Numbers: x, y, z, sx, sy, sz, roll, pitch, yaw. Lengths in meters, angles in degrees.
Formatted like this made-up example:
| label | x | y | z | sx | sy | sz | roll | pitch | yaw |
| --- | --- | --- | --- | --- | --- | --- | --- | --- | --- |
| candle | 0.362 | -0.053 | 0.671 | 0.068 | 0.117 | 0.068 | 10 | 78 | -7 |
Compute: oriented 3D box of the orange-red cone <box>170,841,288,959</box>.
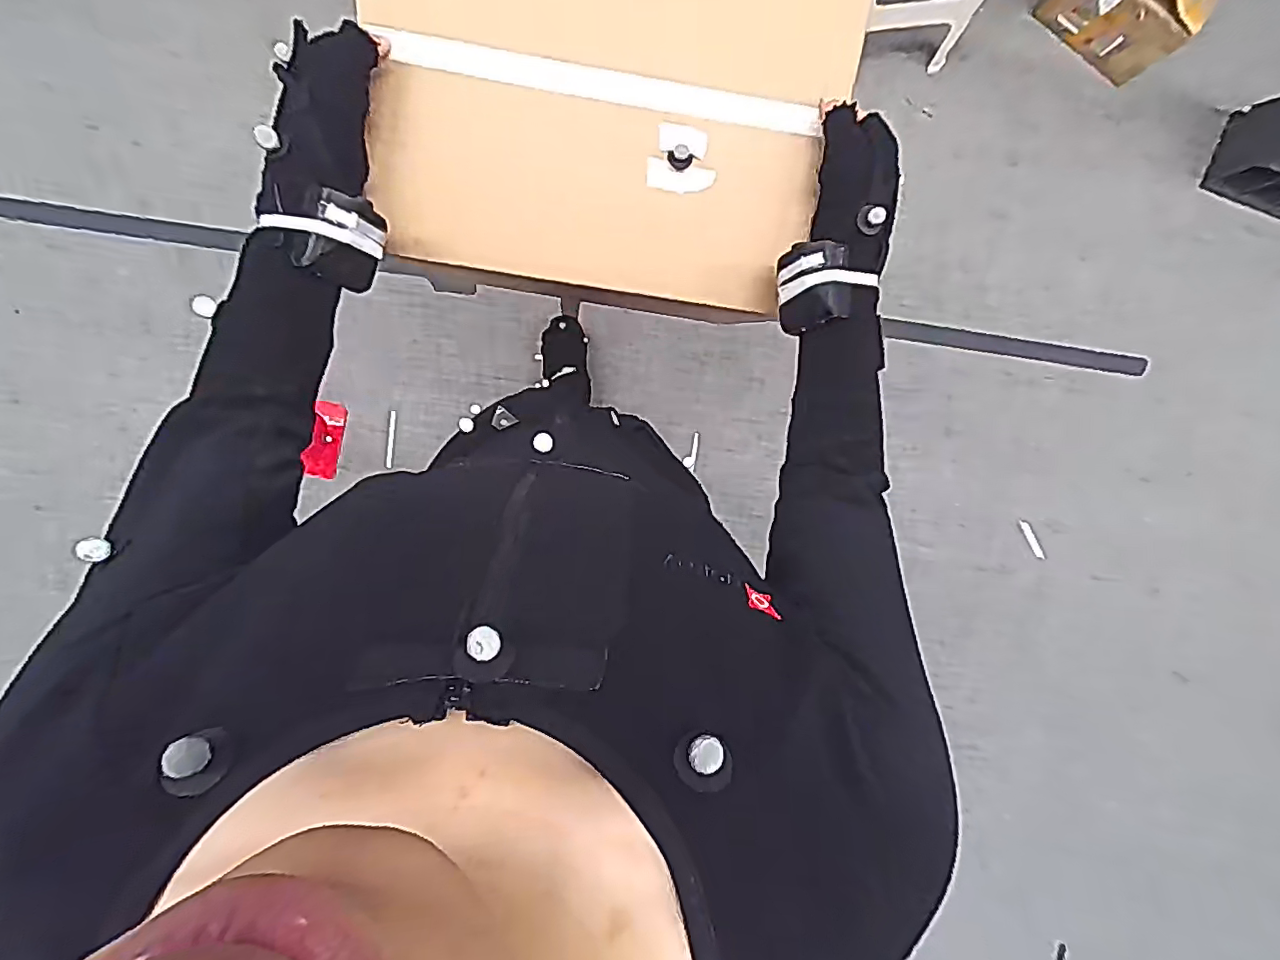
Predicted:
| label | x | y | z | sx | sy | sz | roll | pitch | yaw |
| --- | --- | --- | --- | --- | --- | --- | --- | --- | --- |
| orange-red cone | -1.110 | 1.164 | 1.391 | 0.198 | 0.360 | 0.199 | 5 | 99 | -3 |

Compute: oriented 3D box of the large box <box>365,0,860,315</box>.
| label | x | y | z | sx | sy | sz | roll | pitch | yaw |
| --- | --- | --- | --- | --- | --- | --- | --- | --- | --- |
| large box | -0.034 | -0.372 | 0.596 | 0.408 | 0.320 | 0.320 | 7 | 105 | -5 |

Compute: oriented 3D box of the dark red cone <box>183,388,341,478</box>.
| label | x | y | z | sx | sy | sz | roll | pitch | yaw |
| --- | --- | --- | --- | --- | --- | --- | --- | --- | --- |
| dark red cone | -0.859 | -0.099 | 1.210 | 0.201 | 0.394 | 0.202 | 13 | 97 | -6 |
